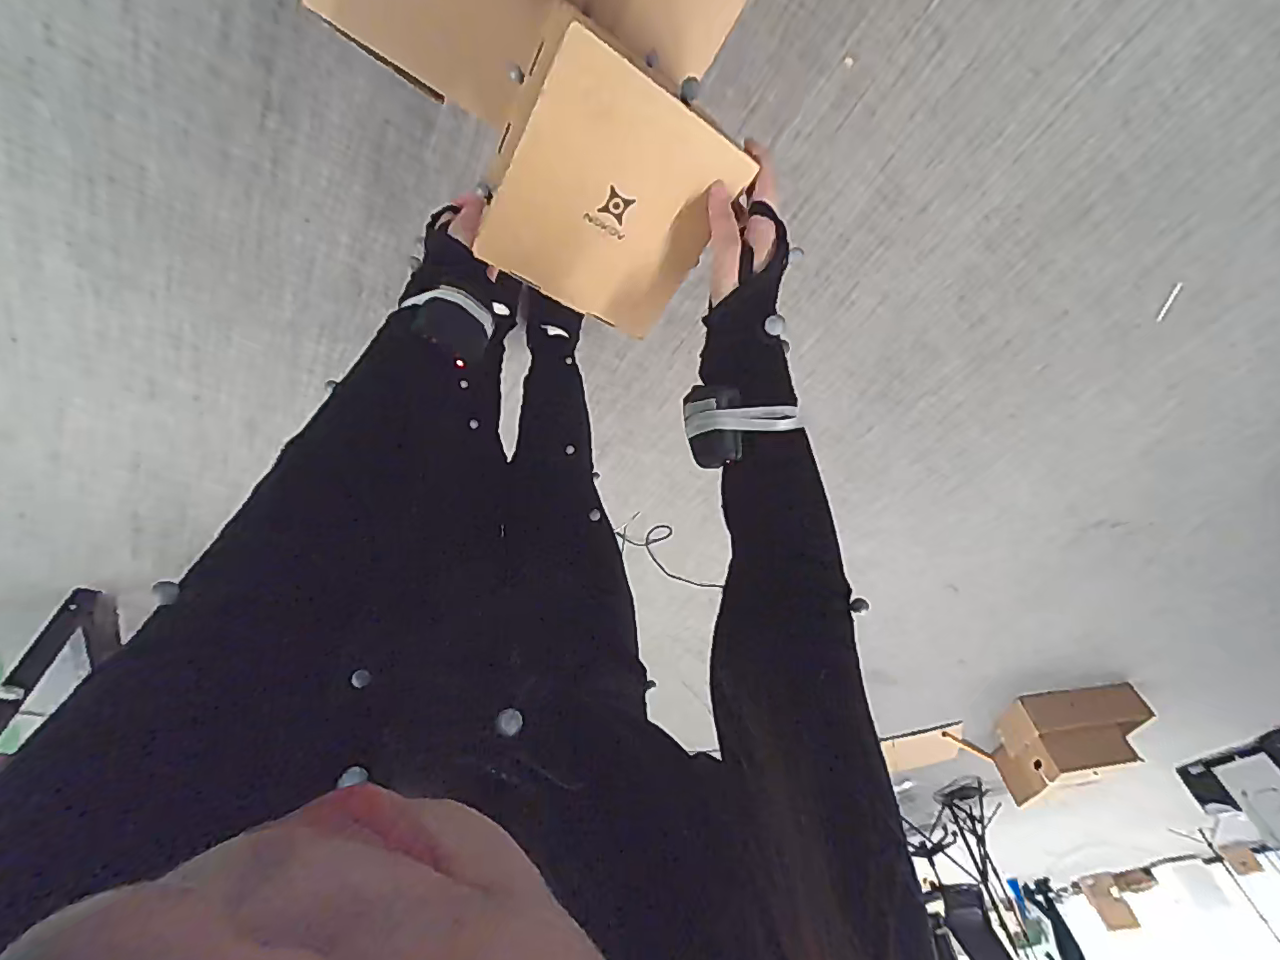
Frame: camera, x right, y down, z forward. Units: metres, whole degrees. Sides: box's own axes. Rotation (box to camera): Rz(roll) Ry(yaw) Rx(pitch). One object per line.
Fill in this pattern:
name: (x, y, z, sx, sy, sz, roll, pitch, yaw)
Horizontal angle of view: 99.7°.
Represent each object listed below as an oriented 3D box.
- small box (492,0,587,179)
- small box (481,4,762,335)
small box: (-0.044, -0.387, 0.599, 0.179, 0.176, 0.168, 22, 127, -27)
small box: (-0.026, -0.272, 0.480, 0.168, 0.176, 0.179, 21, 129, -26)
